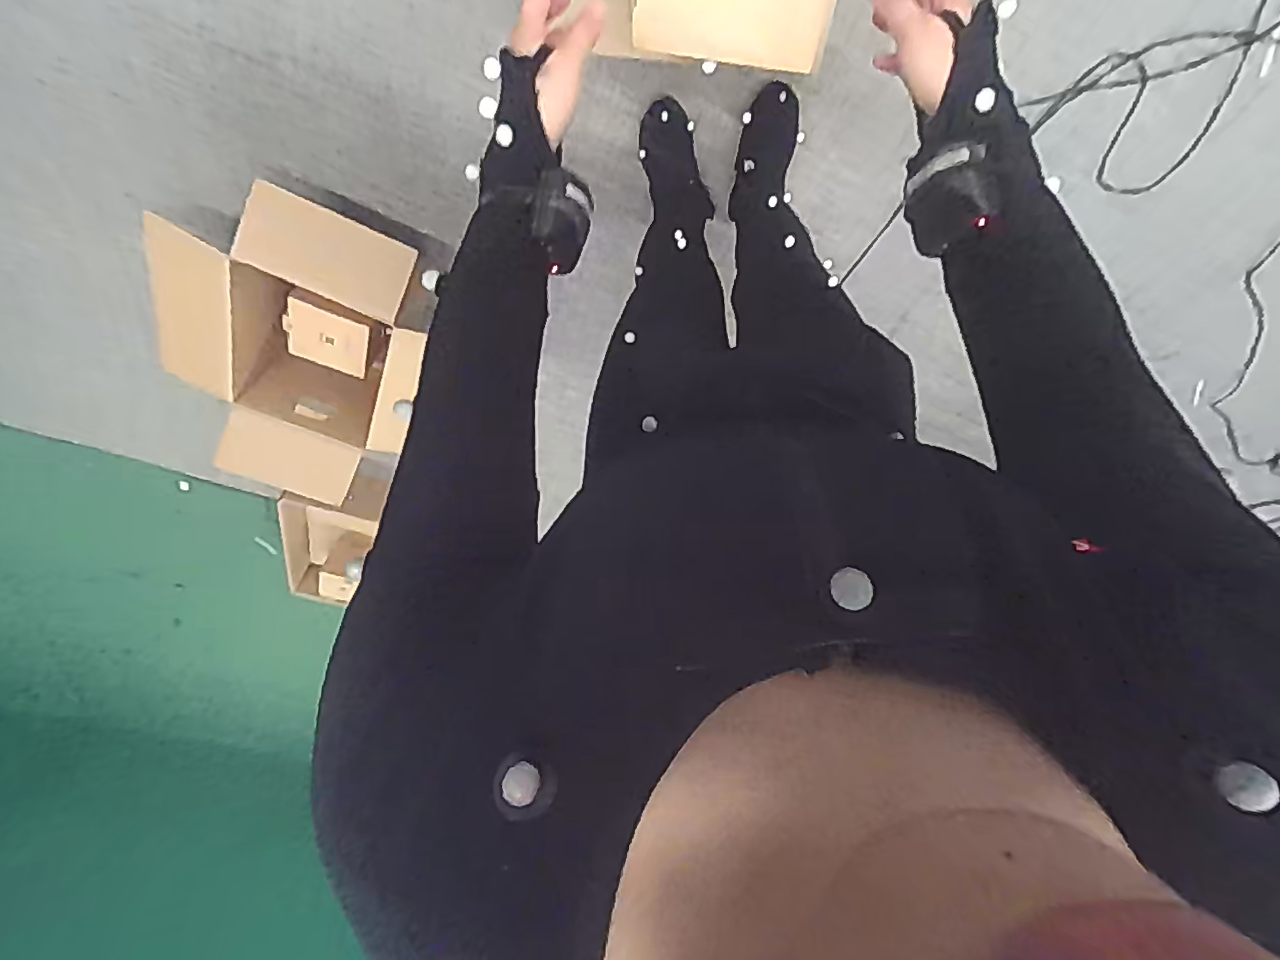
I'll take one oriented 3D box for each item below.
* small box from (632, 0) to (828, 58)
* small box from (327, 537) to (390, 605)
[{"bbox_3d":[0.091,-0.525,0.506,0.179,0.176,0.168,6,137,-1],"label":"small box"},{"bbox_3d":[-1.077,0.348,2.077,0.168,0.176,0.179,18,133,-13],"label":"small box"}]
